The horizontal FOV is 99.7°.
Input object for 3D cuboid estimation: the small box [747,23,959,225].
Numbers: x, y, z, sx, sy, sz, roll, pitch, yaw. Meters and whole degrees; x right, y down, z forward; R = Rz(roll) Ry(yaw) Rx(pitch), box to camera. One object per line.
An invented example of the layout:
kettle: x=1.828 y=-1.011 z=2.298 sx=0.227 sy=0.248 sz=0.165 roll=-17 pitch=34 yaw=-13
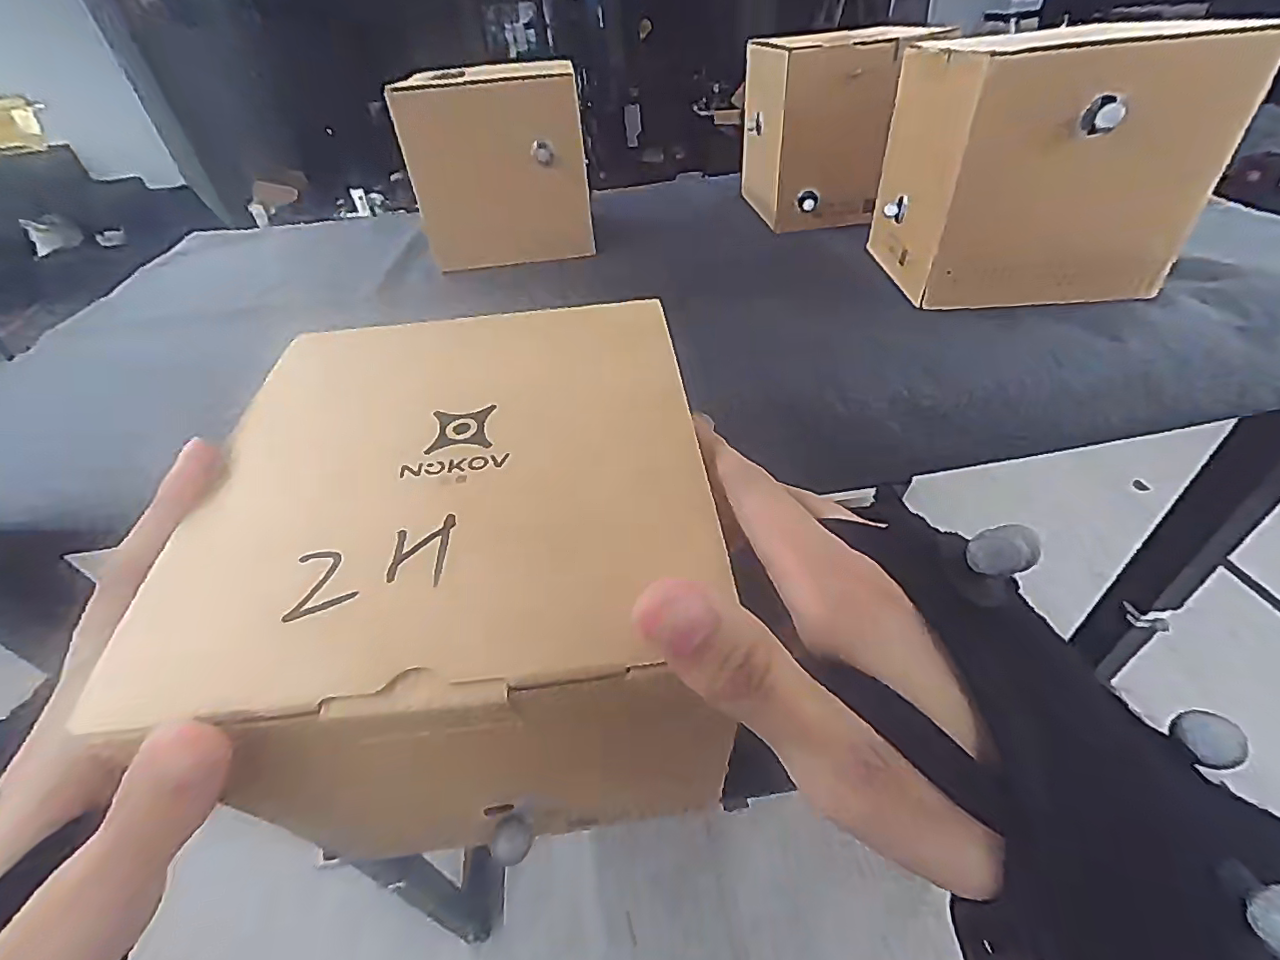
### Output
small box: x=0.223 y=-0.403 z=0.621 sx=0.168 sy=0.176 sz=0.179 roll=-6 pitch=40 yaw=0

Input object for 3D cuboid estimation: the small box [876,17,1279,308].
small box: x=0.311 y=-0.251 z=0.432 sx=0.179 sy=0.176 sz=0.168 roll=-2 pitch=39 yaw=6

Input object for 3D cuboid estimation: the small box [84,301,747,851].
small box: x=-0.057 y=0.042 z=0.246 sx=0.168 sy=0.176 sz=0.179 roll=-6 pitch=47 yaw=-1
